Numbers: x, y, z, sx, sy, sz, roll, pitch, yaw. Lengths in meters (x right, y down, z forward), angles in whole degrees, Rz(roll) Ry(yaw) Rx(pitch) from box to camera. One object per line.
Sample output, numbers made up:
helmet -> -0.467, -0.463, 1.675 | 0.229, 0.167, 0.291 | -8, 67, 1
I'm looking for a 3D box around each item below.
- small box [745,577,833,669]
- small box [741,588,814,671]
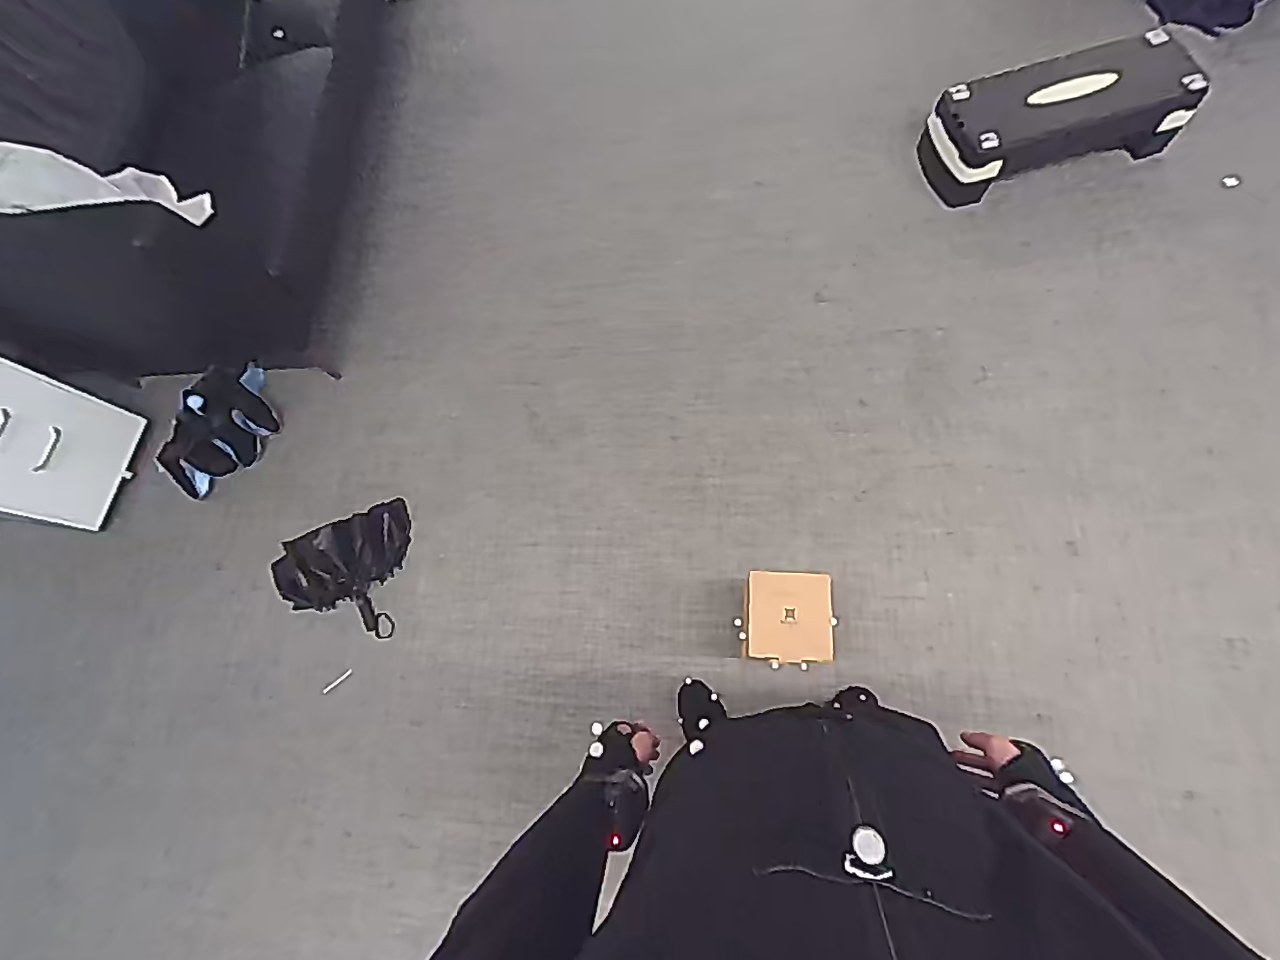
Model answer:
small box -> 0.317, 0.315, 1.176 | 0.168, 0.176, 0.179 | 1, 70, 8
small box -> 0.336, 0.369, 1.328 | 0.168, 0.176, 0.179 | 2, 72, 10
